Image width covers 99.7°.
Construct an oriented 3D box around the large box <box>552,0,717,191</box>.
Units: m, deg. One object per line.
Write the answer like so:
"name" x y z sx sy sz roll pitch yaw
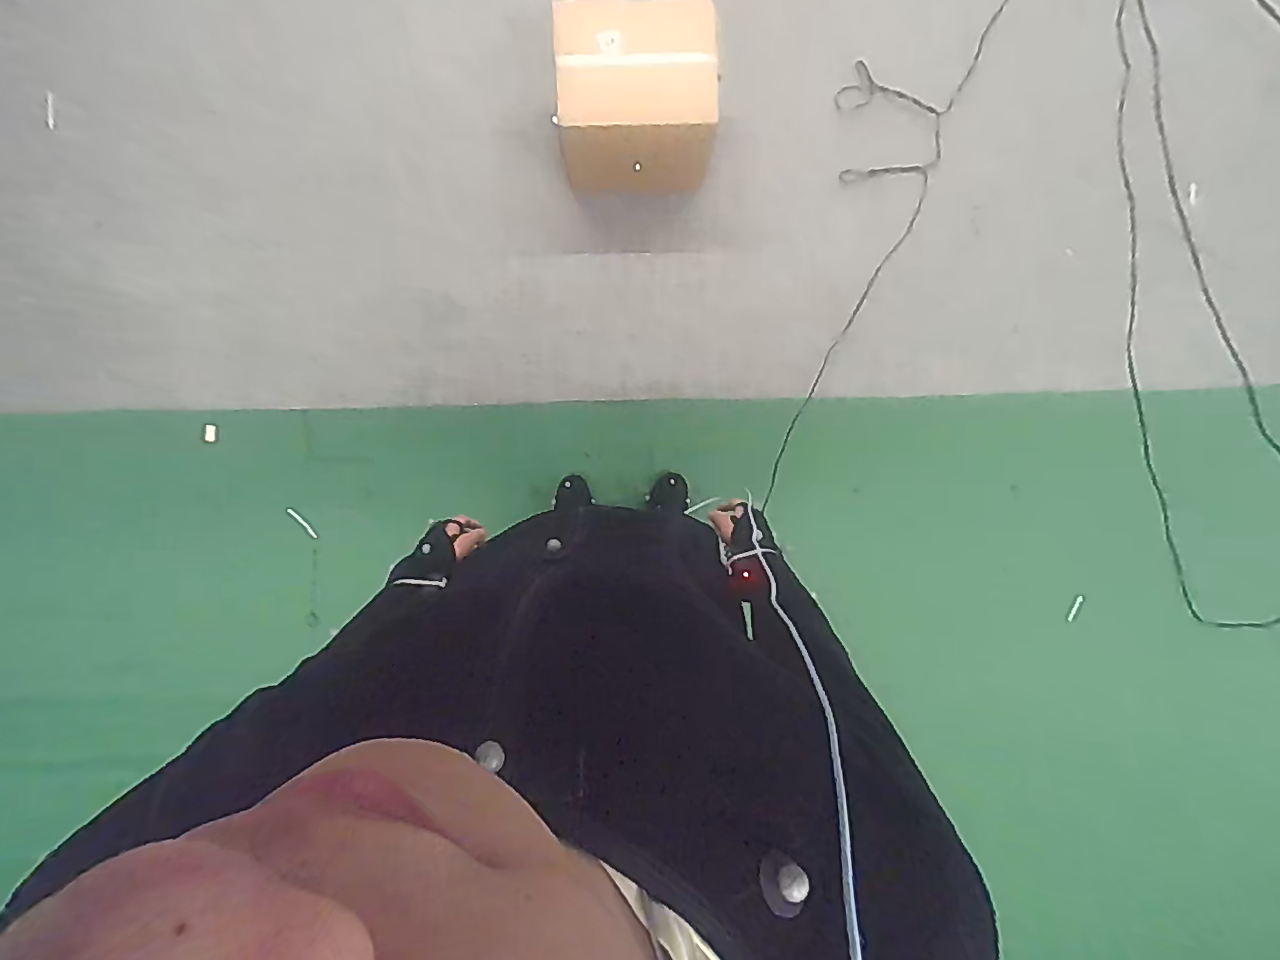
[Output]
"large box" -0.014 -1.039 1.498 0.408 0.320 0.320 -3 90 -1
